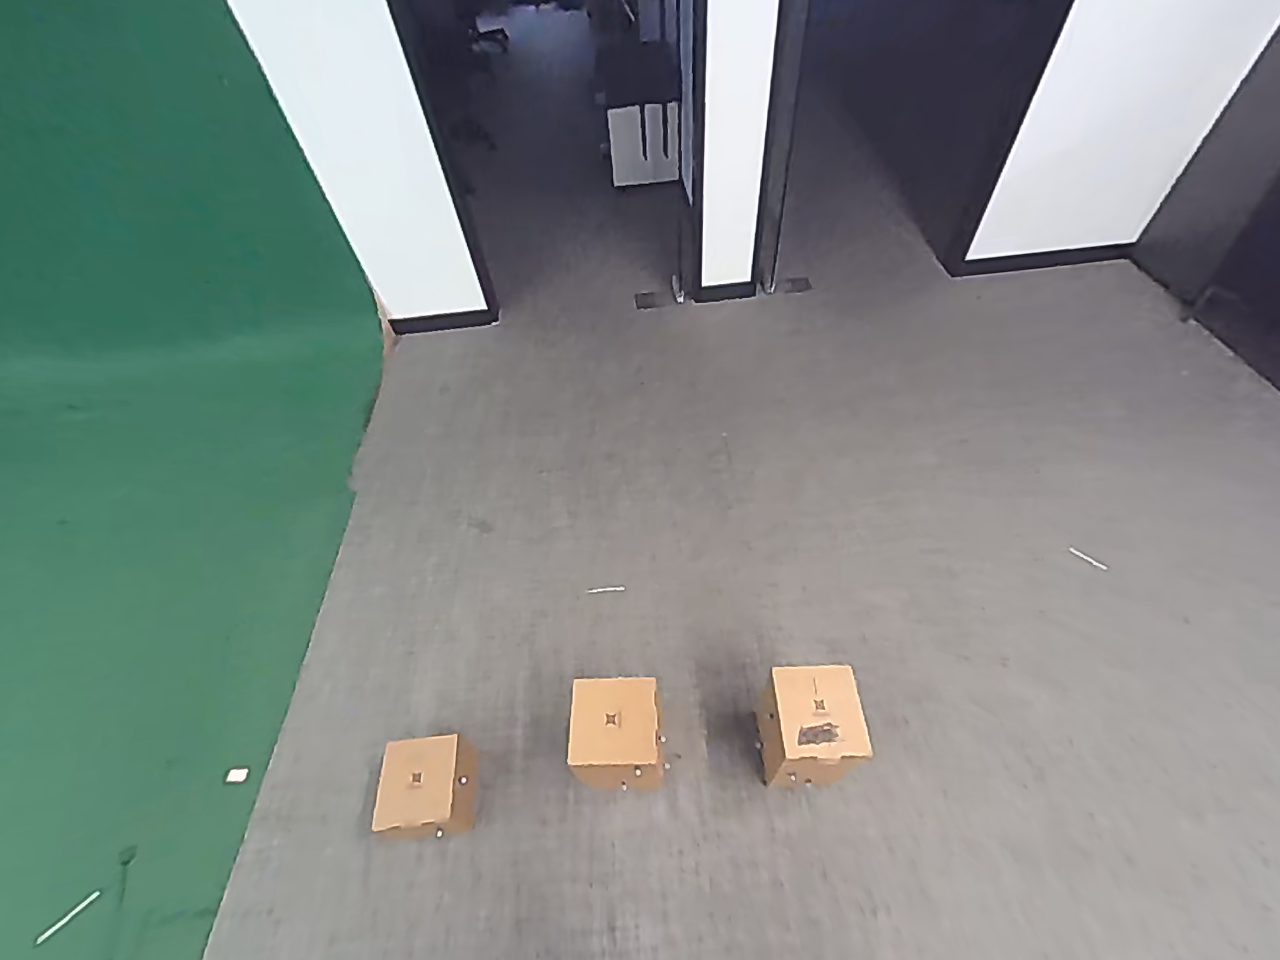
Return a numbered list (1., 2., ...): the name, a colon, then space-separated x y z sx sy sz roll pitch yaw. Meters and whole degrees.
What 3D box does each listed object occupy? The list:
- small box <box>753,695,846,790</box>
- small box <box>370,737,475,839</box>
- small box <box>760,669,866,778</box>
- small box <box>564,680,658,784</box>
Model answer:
1. small box: 0.362 0.612 1.258 0.168 0.176 0.179 -3 51 2
2. small box: -0.489 0.714 1.245 0.168 0.176 0.179 -6 50 -1
3. small box: 0.350 0.512 1.127 0.168 0.176 0.179 -2 50 3
4. small box: -0.054 0.536 1.142 0.179 0.176 0.168 -2 50 3
